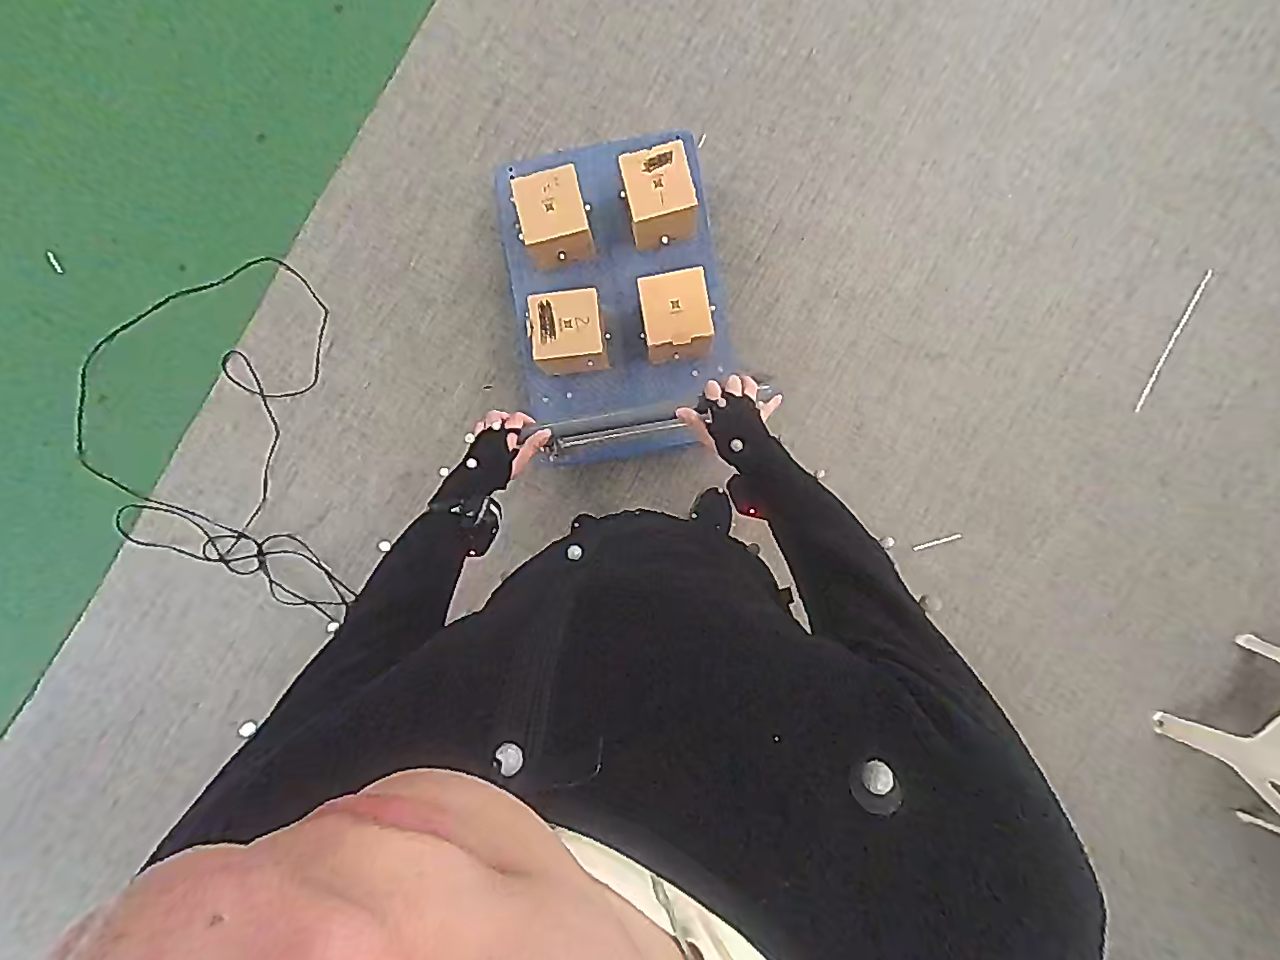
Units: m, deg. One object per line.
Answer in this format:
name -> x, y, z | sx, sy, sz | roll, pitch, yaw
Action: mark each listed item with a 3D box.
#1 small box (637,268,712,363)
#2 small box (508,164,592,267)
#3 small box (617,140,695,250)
small box -> 0.086, -0.419, 1.398 | 0.168, 0.176, 0.179 | -10, 88, 2
small box -> -0.229, -0.679, 1.418 | 0.168, 0.176, 0.179 | -14, 88, 1
small box -> 0.041, -0.734, 1.409 | 0.168, 0.176, 0.179 | -14, 89, 2
